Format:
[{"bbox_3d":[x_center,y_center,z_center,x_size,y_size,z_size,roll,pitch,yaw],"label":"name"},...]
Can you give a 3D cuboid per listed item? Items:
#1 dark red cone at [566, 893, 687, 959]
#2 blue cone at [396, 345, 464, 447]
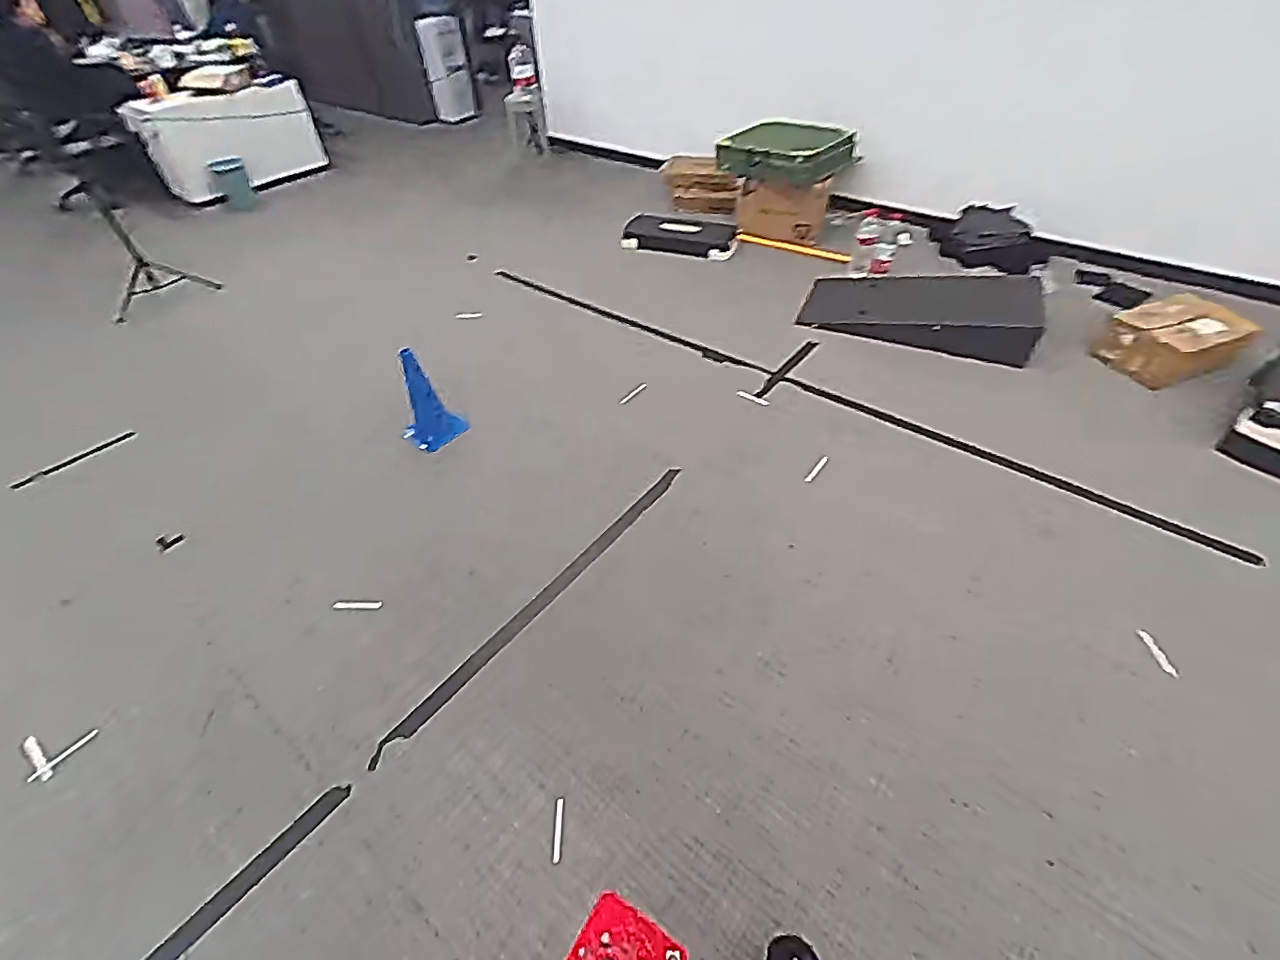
[{"bbox_3d":[-0.046,0.783,0.848,0.201,0.394,0.202,22,51,23],"label":"dark red cone"},{"bbox_3d":[-0.808,-0.319,1.990,0.192,0.380,0.193,29,54,28],"label":"blue cone"}]
